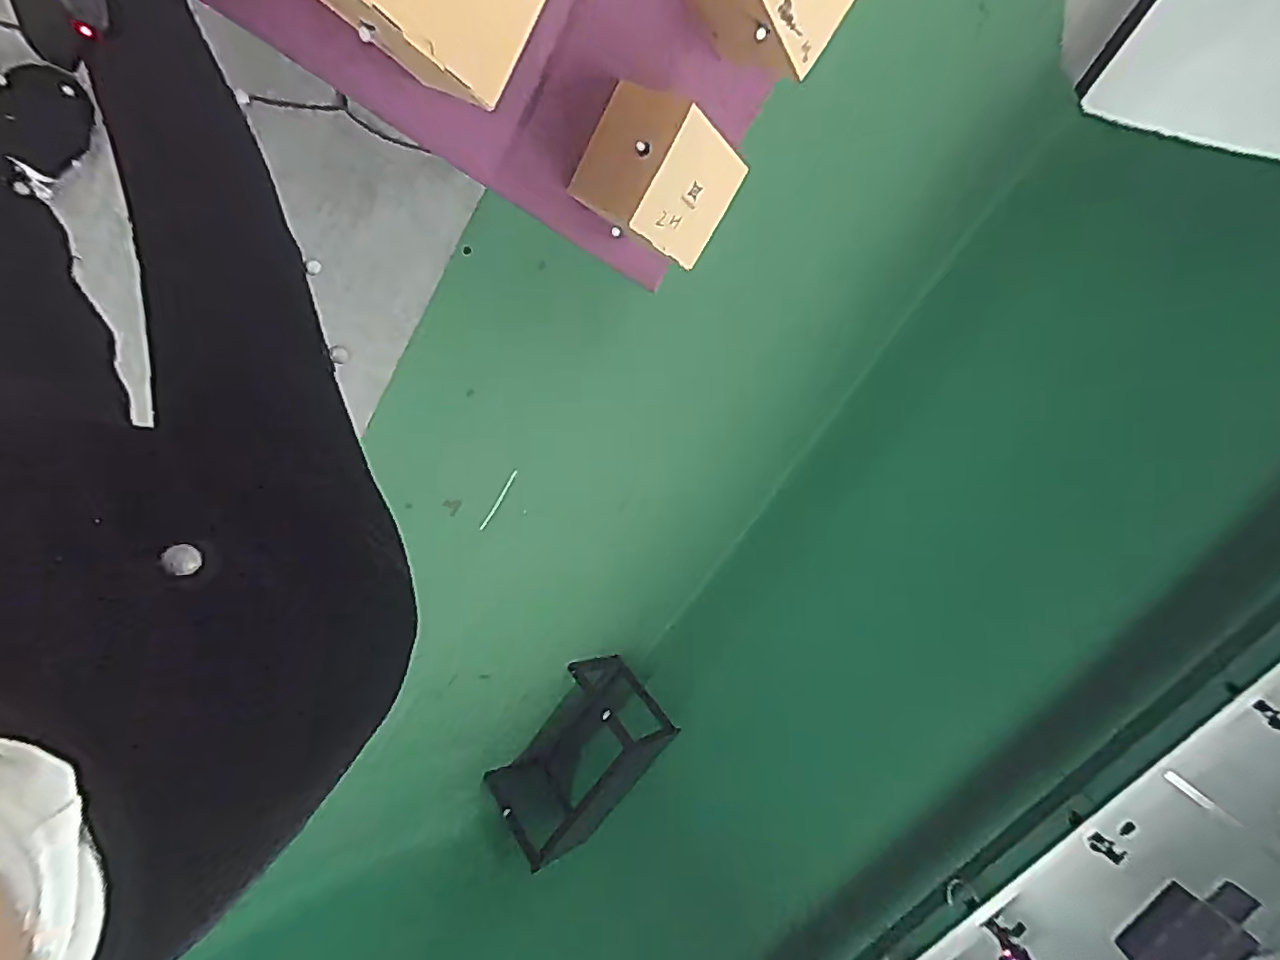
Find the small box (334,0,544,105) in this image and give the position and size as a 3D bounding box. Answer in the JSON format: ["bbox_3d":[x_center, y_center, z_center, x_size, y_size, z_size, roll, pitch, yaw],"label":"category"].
[{"bbox_3d":[-0.203,-0.515,0.517,0.168,0.176,0.179,11,117,-54],"label":"small box"}]

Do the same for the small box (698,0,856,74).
[{"bbox_3d":[0.197,-0.719,0.746,0.168,0.176,0.179,12,117,-53],"label":"small box"}]

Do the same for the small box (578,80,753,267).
[{"bbox_3d":[0.033,-0.470,0.833,0.168,0.176,0.179,9,120,-51],"label":"small box"}]
